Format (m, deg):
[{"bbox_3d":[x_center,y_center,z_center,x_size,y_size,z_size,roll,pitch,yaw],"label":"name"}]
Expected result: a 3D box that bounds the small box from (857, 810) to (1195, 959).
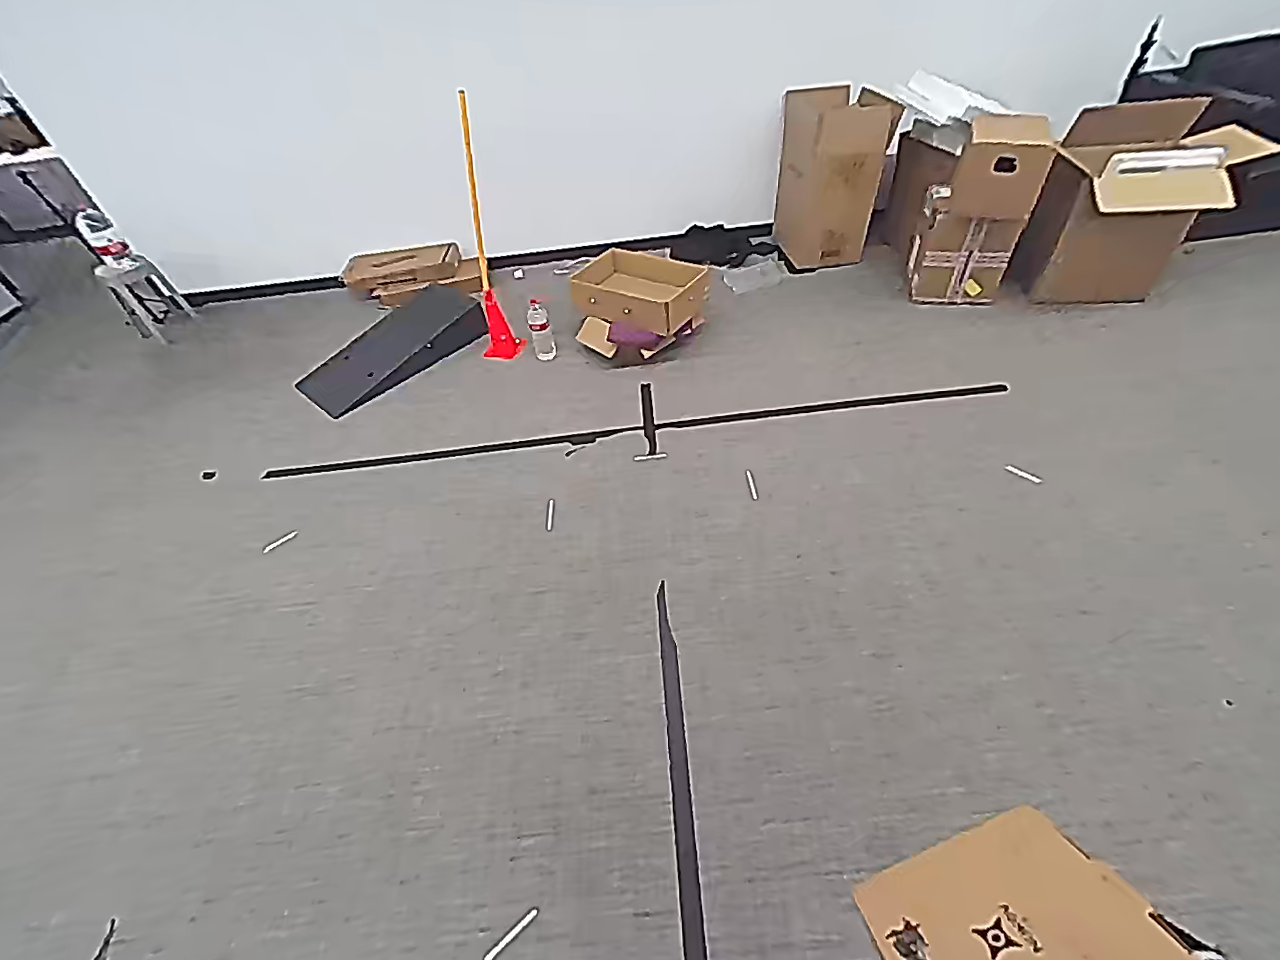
[{"bbox_3d":[0.303,0.405,0.403,0.179,0.176,0.168,-25,6,0],"label":"small box"}]
